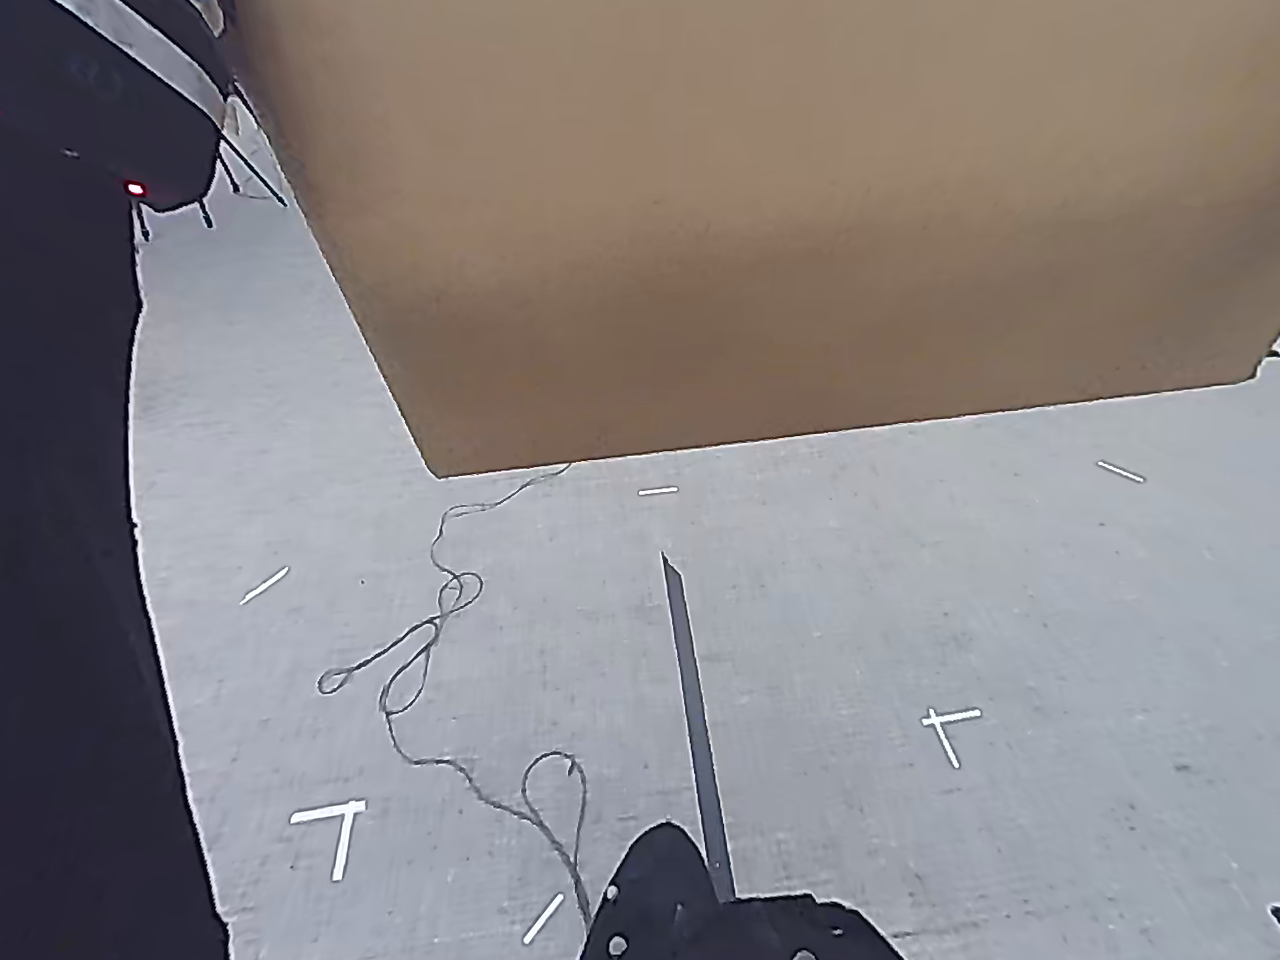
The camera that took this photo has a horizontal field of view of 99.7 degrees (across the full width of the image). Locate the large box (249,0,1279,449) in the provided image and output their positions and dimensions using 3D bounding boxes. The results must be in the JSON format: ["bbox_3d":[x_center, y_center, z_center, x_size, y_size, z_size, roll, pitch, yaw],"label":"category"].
[{"bbox_3d":[0.066,-0.244,0.294,0.408,0.320,0.320,-6,41,1],"label":"large box"}]
